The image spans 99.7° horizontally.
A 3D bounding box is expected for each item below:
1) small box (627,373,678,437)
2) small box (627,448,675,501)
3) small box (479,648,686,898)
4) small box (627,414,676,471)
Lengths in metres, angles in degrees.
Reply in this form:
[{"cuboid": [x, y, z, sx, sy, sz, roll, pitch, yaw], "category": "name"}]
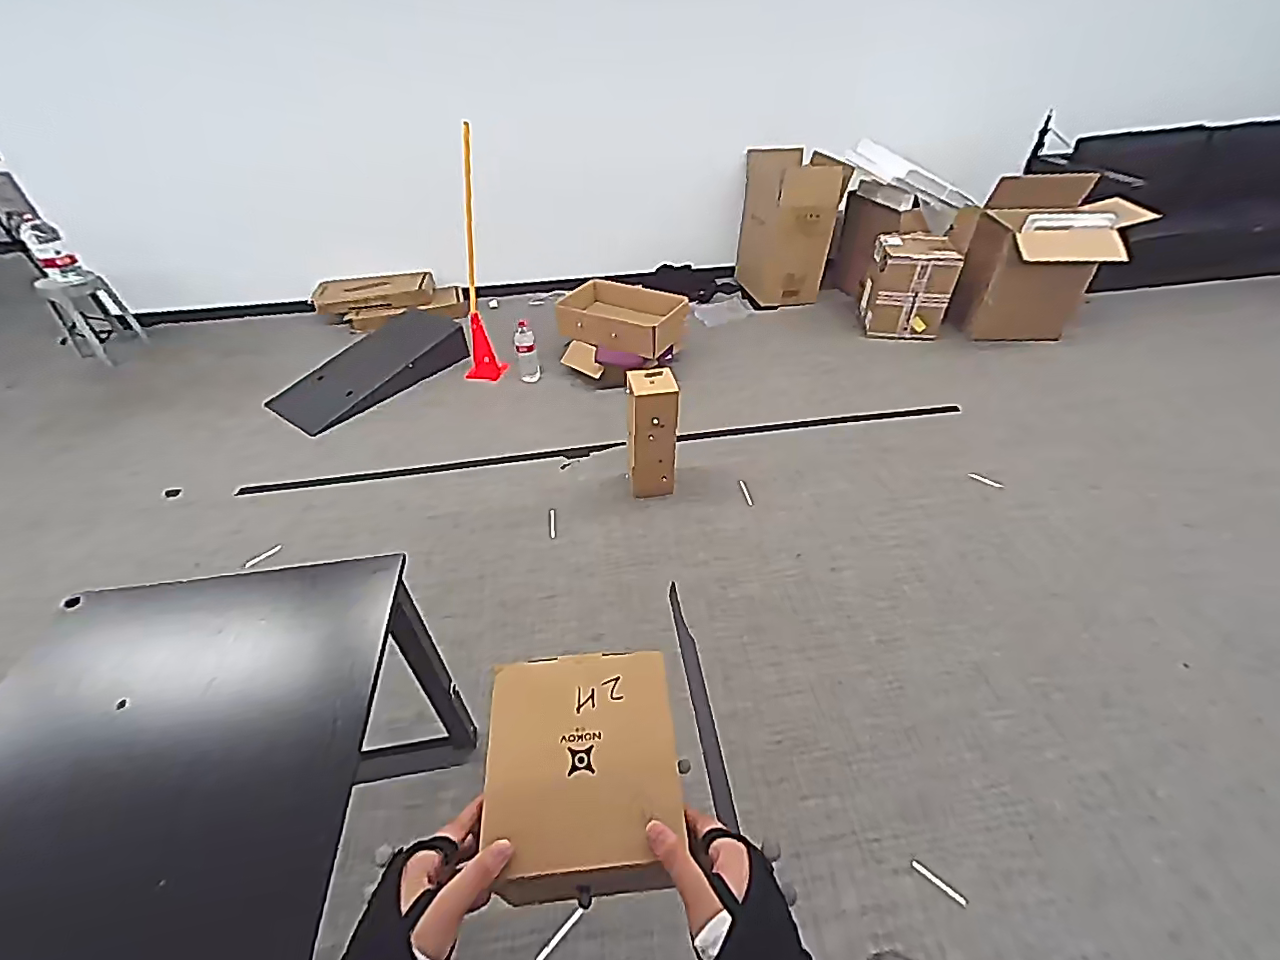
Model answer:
[{"cuboid": [0.043, -0.284, 2.045, 0.168, 0.176, 0.179, -8, 41, -7], "category": "small box"}, {"cuboid": [0.044, -0.033, 2.257, 0.179, 0.176, 0.168, -8, 40, -5], "category": "small box"}, {"cuboid": [-0.050, 0.290, 0.531, 0.168, 0.176, 0.179, -5, 46, -4], "category": "small box"}, {"cuboid": [0.042, -0.157, 2.151, 0.168, 0.176, 0.179, -8, 39, -7], "category": "small box"}]
